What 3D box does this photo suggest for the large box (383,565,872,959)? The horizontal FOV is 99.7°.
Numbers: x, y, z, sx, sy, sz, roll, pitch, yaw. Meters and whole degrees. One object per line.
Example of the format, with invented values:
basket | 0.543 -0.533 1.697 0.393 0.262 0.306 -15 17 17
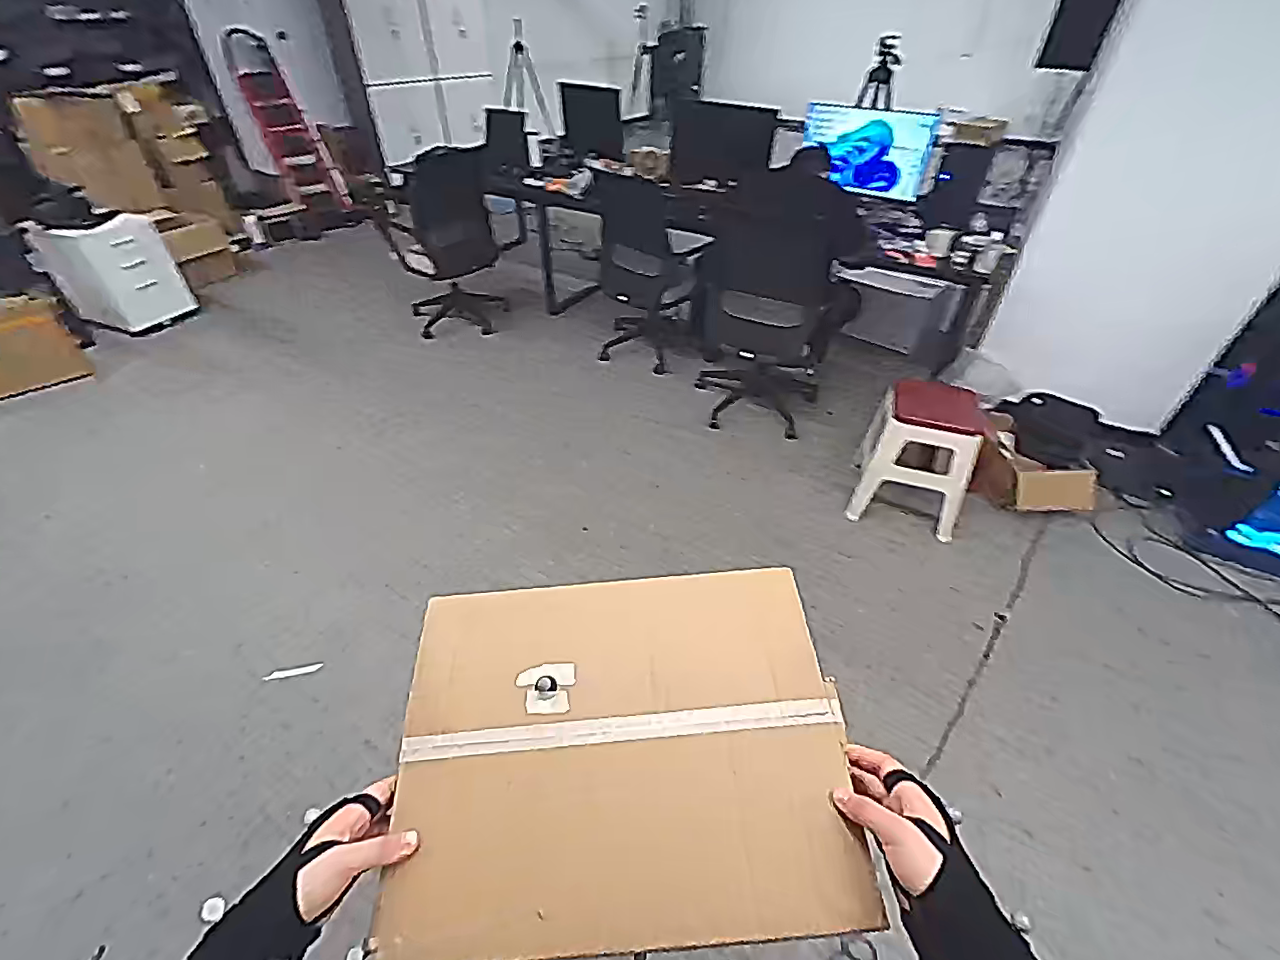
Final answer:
large box | -0.011 0.330 0.637 0.408 0.320 0.320 -7 51 0
